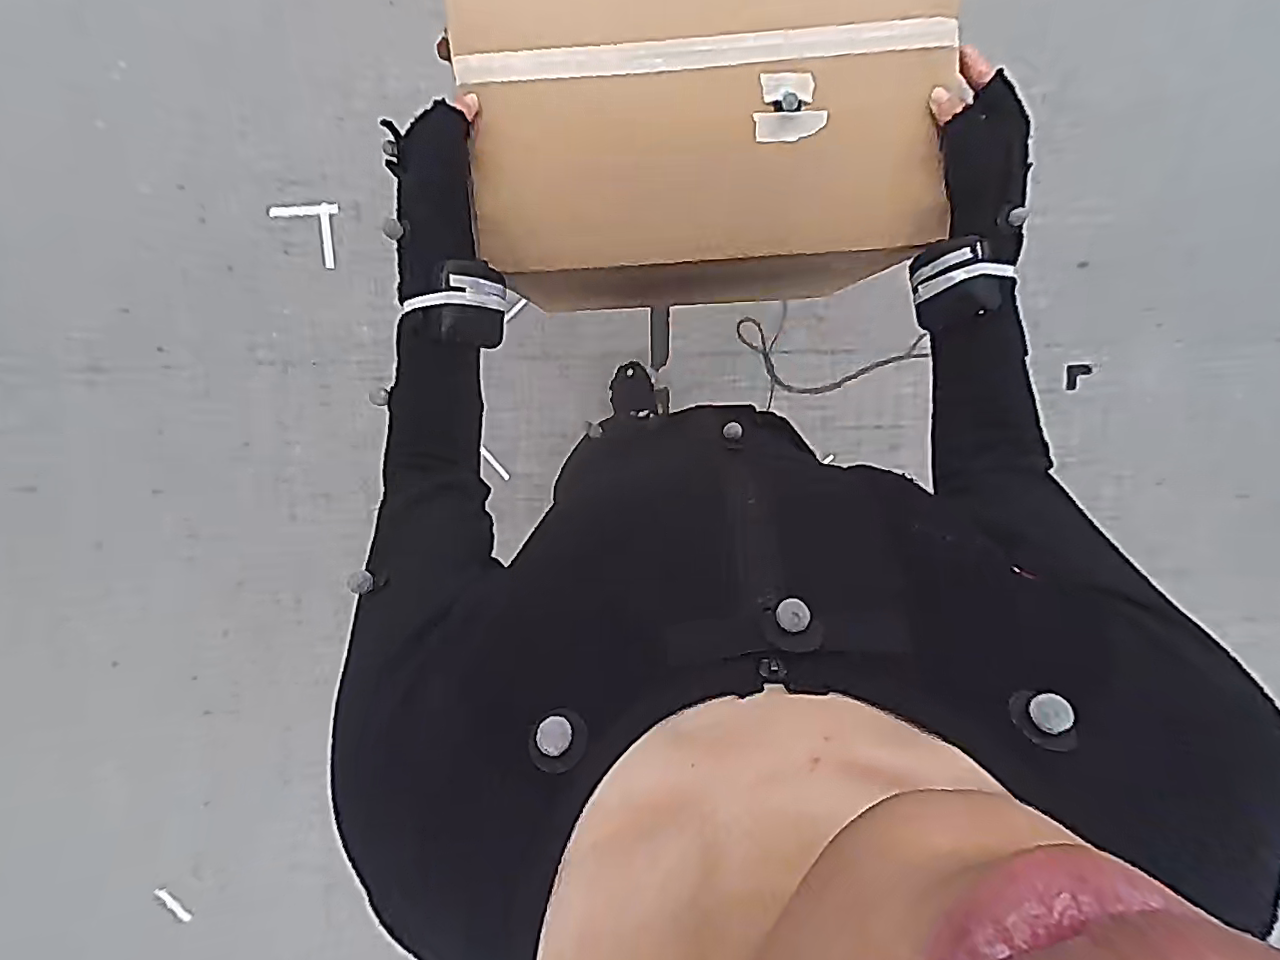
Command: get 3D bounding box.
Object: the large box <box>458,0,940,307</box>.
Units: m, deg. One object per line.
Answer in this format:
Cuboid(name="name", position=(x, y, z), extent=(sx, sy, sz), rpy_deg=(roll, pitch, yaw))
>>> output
Cuboid(name="large box", position=(0.049, -0.383, 0.599), extent=(0.408, 0.320, 0.320), rpy_deg=(-3, 102, 0))
